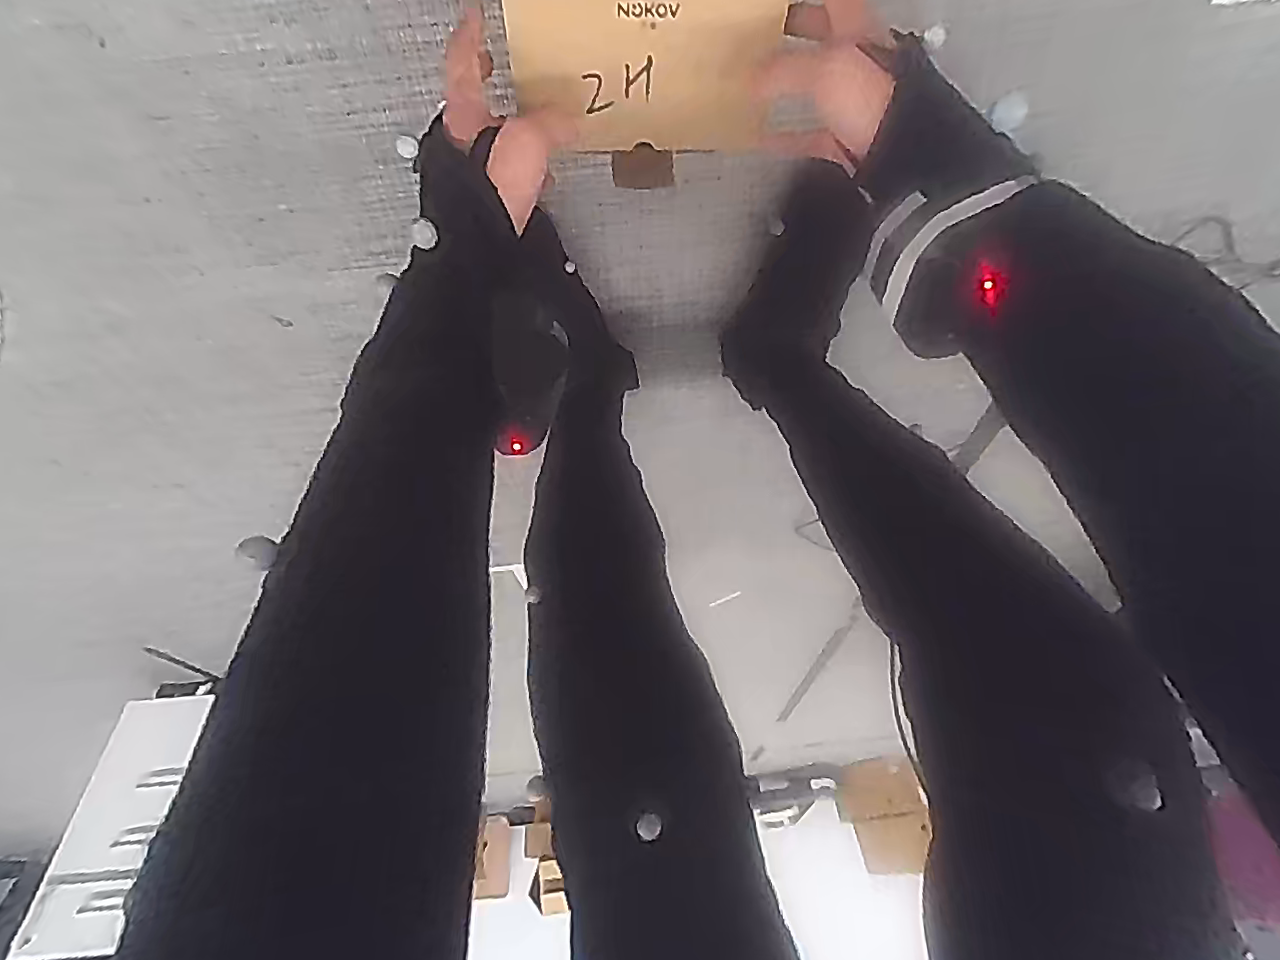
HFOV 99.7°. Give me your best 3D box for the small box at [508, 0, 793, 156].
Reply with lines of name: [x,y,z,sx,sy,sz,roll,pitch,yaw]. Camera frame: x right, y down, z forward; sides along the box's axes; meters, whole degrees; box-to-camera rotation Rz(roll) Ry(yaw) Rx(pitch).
small box: [0.001,-0.338,0.349,0.168,0.176,0.179,-2,143,-3]
